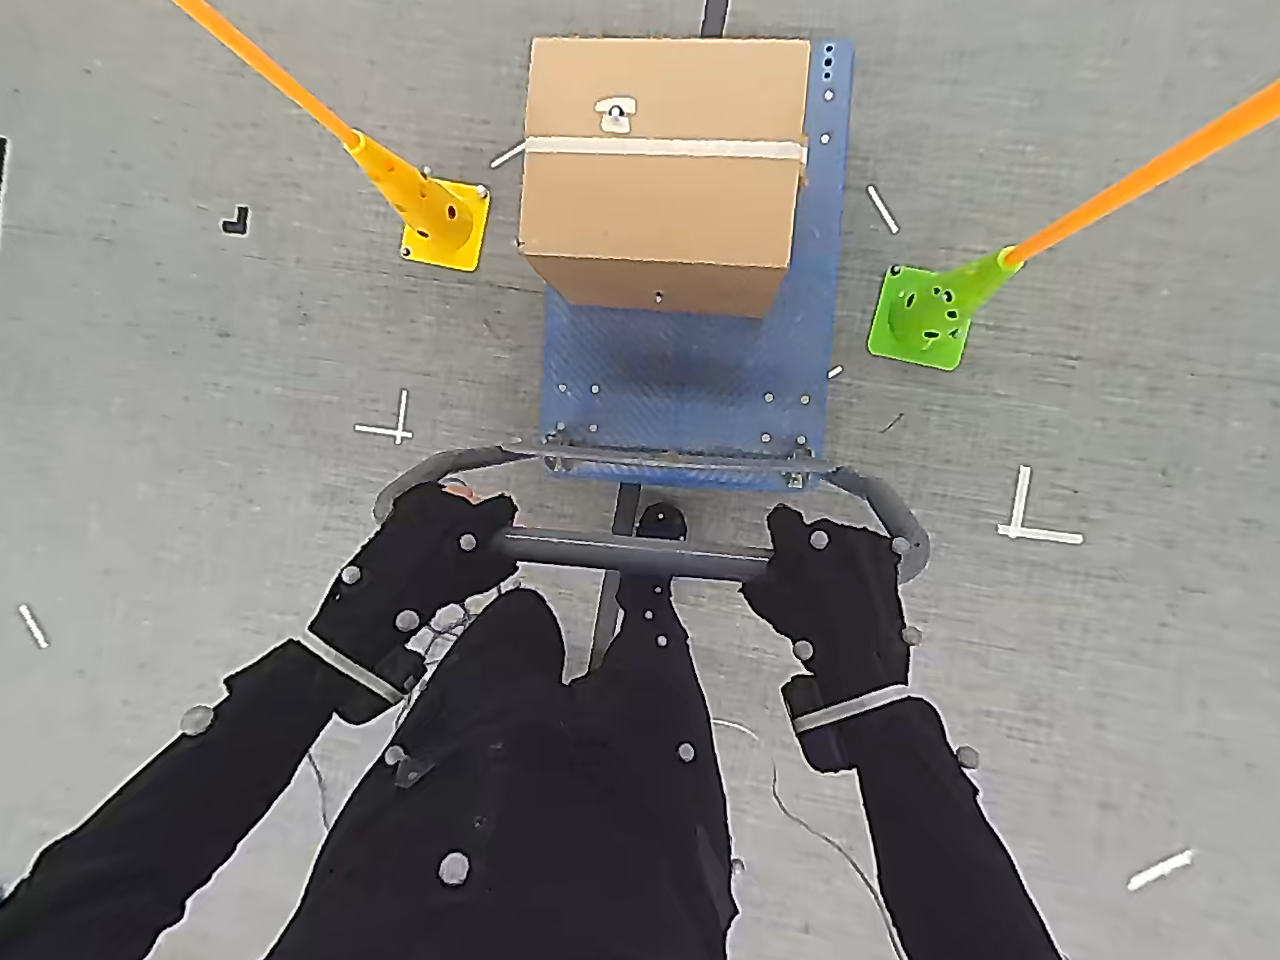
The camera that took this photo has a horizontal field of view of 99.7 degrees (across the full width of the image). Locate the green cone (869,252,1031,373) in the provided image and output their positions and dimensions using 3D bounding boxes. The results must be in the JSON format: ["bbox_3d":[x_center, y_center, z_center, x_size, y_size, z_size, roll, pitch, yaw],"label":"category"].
[{"bbox_3d":[0.608,-0.343,1.026,0.202,0.368,0.200,14,94,5],"label":"green cone"}]

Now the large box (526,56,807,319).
[{"bbox_3d":[0.052,-0.474,0.946,0.408,0.320,0.320,6,94,8],"label":"large box"}]
